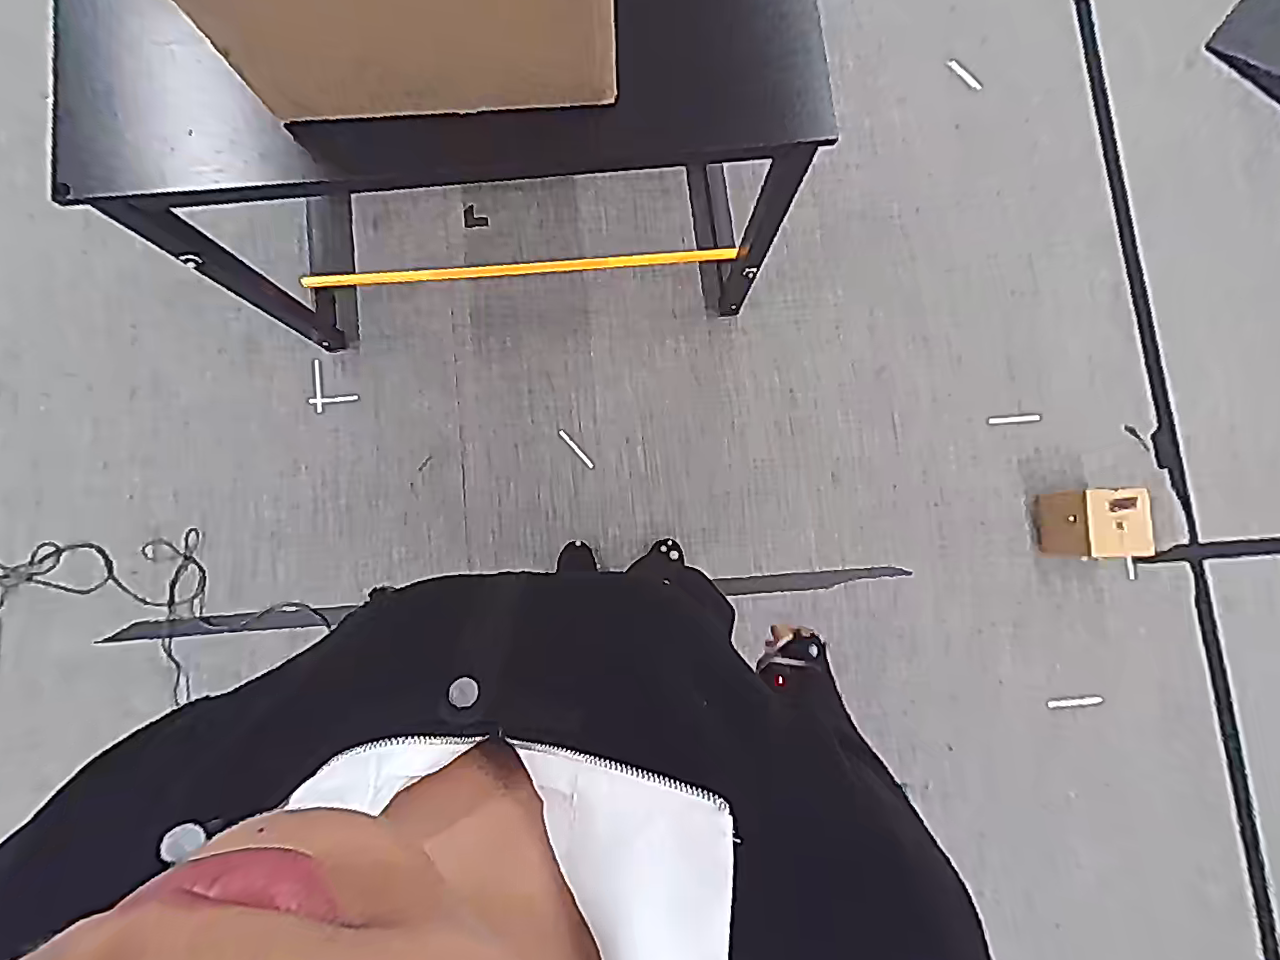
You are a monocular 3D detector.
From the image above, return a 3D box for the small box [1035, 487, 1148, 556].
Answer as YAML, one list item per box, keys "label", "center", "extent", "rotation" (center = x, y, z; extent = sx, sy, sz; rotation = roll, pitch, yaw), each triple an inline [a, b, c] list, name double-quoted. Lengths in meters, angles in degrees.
- label: "small box"
  center: [1.212, 0.115, 1.466]
  extent: [0.168, 0.176, 0.179]
  rotation: [-1, 85, -1]
